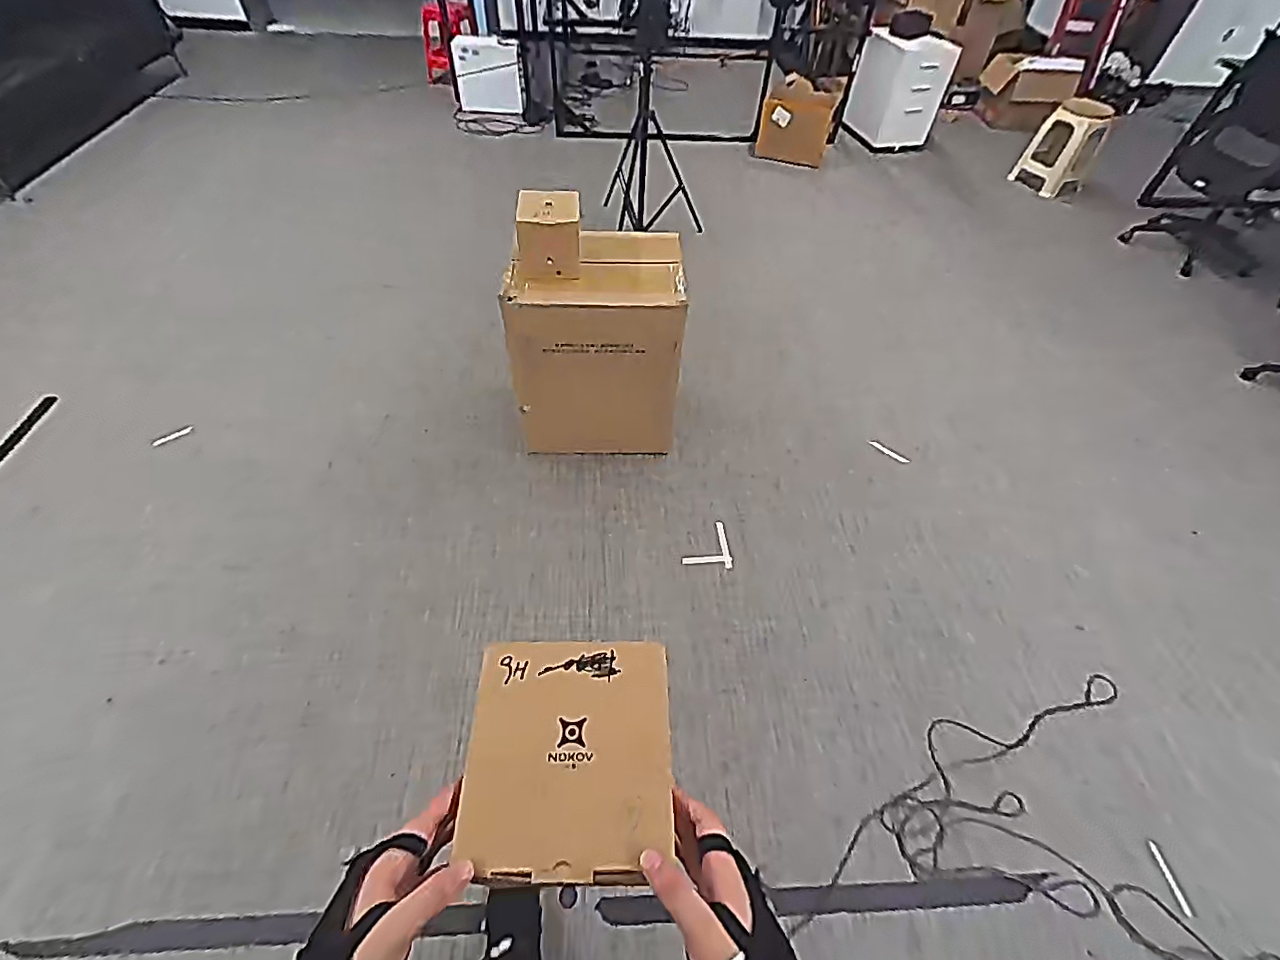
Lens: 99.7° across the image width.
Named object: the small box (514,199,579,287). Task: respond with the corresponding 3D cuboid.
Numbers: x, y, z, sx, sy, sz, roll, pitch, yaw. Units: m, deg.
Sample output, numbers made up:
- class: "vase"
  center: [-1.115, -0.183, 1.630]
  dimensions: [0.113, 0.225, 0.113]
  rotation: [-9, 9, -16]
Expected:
- class: "small box"
  center: [-0.259, -0.674, 1.538]
  dimensions: [0.168, 0.176, 0.179]
  rotation: [-1, 53, -5]
